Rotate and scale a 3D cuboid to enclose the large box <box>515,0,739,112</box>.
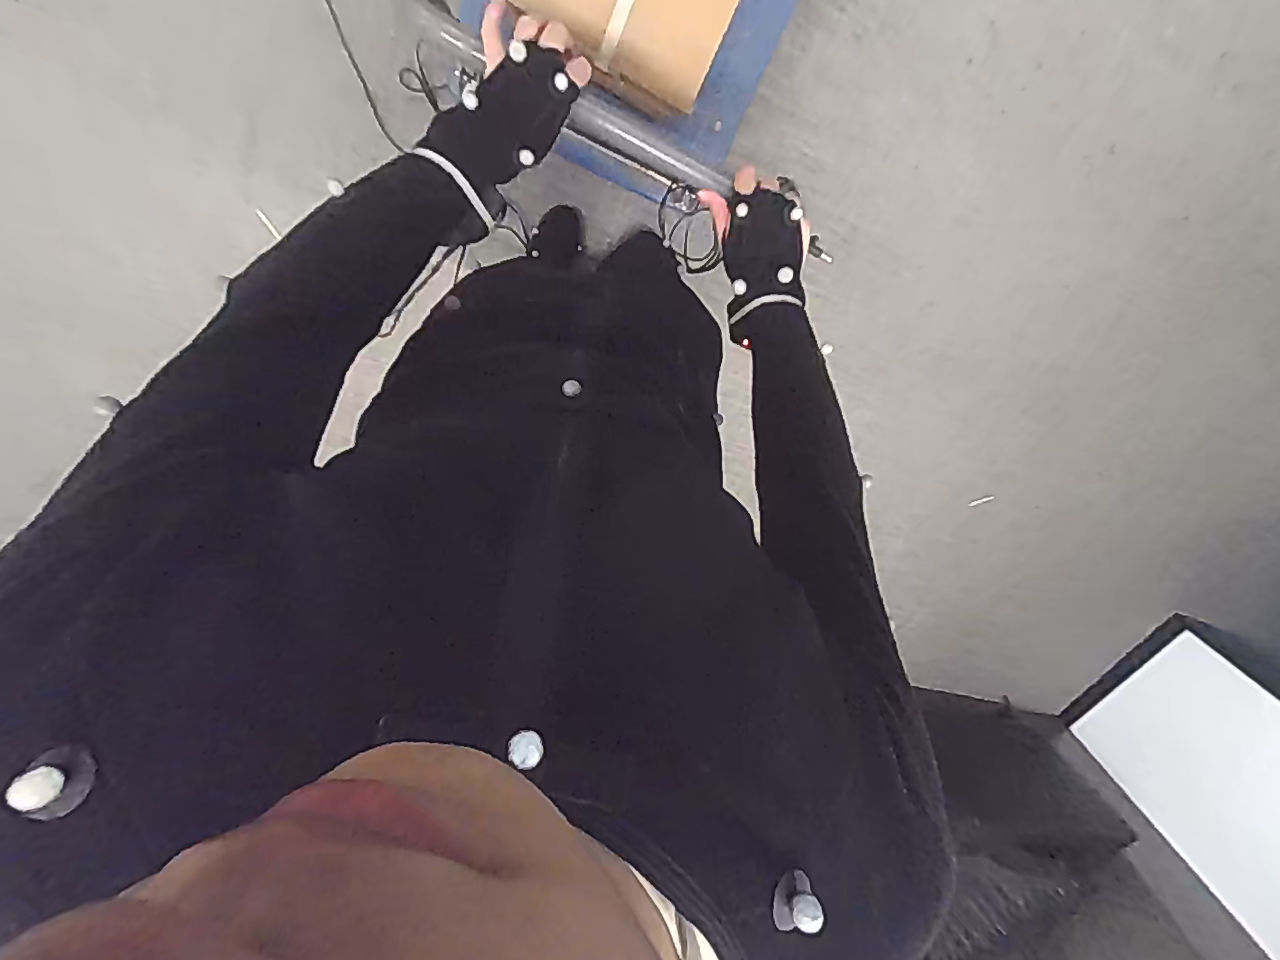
[{"bbox_3d":[0.015,-0.883,0.859,0.320,0.320,0.408,20,117,-20],"label":"large box"}]
